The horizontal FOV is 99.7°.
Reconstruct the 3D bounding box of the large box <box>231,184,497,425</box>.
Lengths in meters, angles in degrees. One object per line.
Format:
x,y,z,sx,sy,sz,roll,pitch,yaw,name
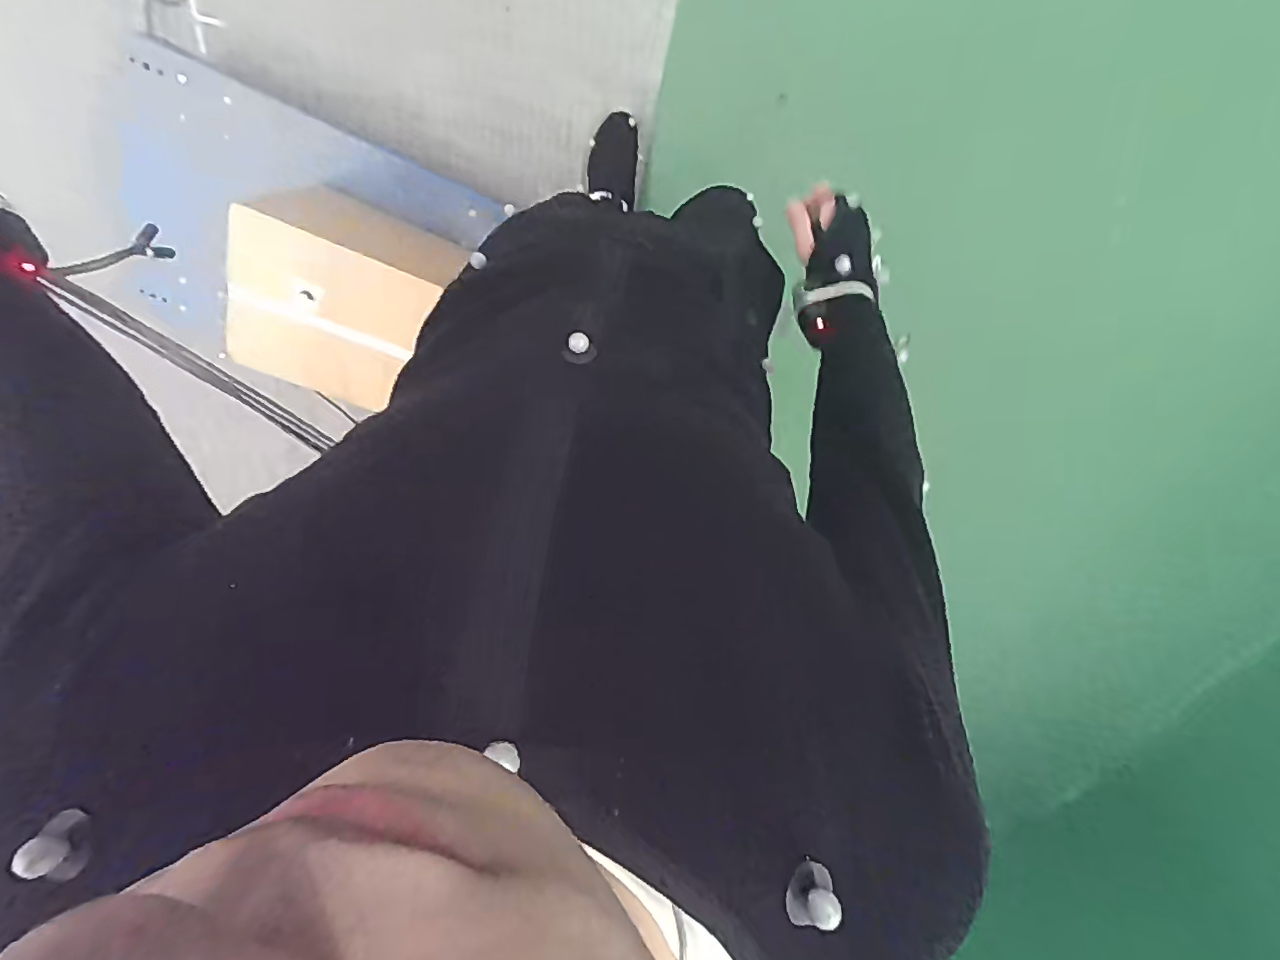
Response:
-0.566,-0.378,1.161,0.408,0.320,0.320,20,121,-13,large box
